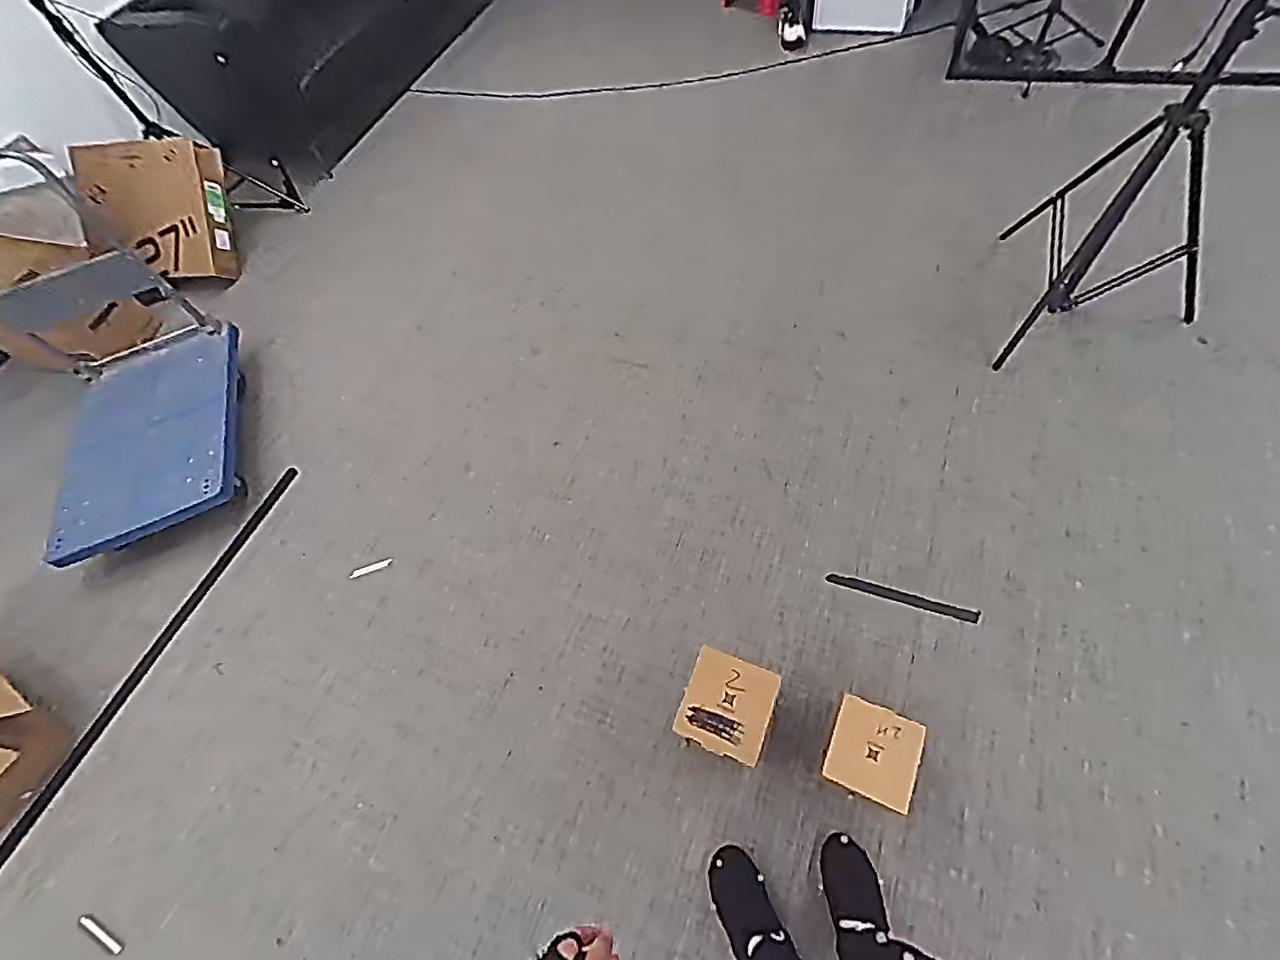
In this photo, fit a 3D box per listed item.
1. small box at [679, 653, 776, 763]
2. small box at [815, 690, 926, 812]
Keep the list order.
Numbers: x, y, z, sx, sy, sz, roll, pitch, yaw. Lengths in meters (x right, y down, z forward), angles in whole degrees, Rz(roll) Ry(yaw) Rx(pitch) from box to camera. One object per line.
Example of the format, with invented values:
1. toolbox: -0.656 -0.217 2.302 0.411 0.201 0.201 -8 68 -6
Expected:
1. small box: 0.203 0.528 1.247 0.168 0.176 0.179 18 66 20
2. small box: 0.485 0.580 1.161 0.168 0.176 0.179 19 66 19
